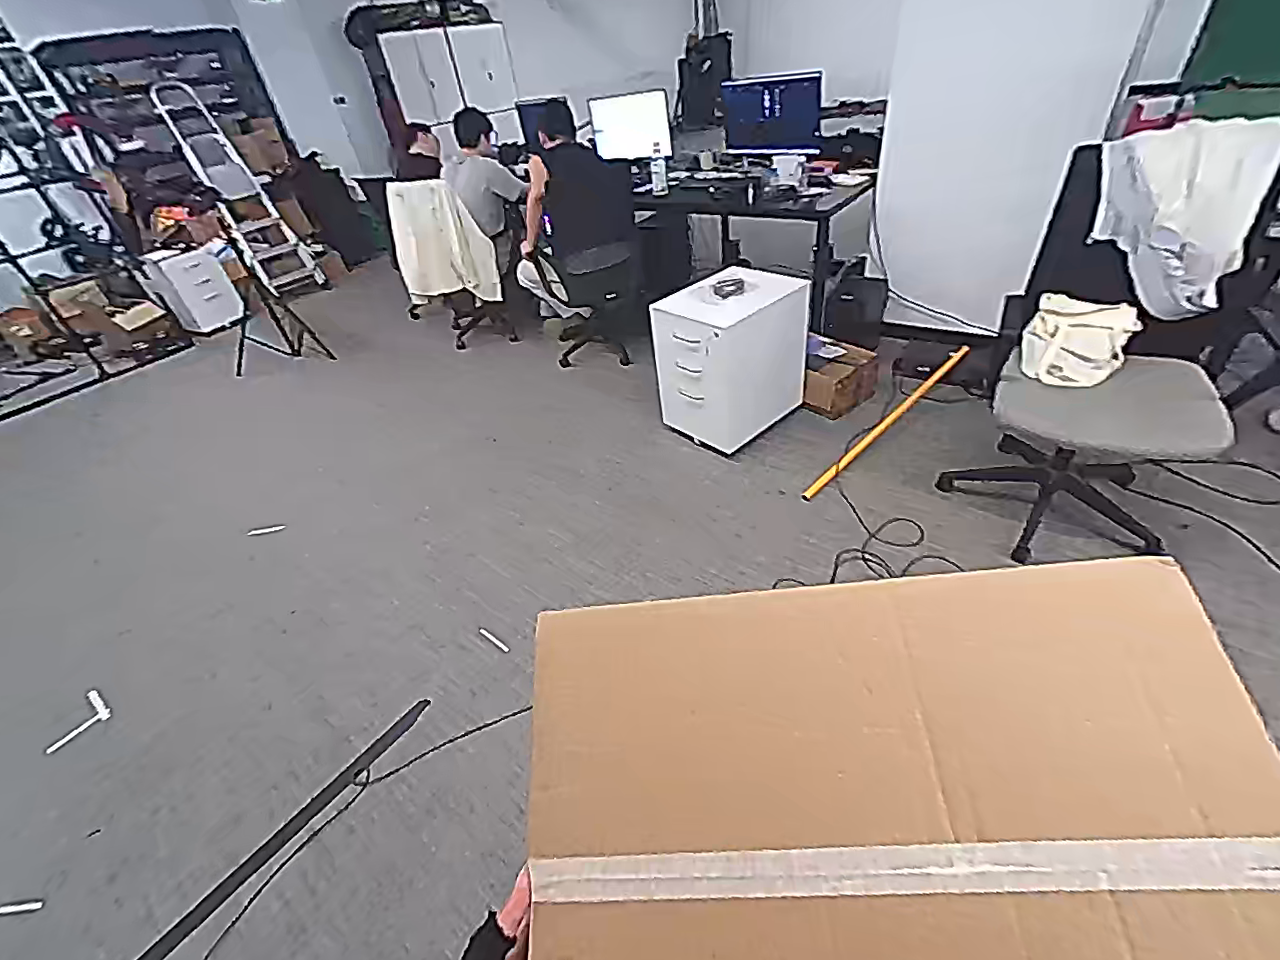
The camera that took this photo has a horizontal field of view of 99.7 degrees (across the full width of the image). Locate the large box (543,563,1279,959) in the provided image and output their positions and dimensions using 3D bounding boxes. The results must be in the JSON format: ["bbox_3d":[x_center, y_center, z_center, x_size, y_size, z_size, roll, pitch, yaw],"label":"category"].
[{"bbox_3d":[0.163,0.281,0.429,0.408,0.320,0.320,-8,64,8],"label":"large box"}]
